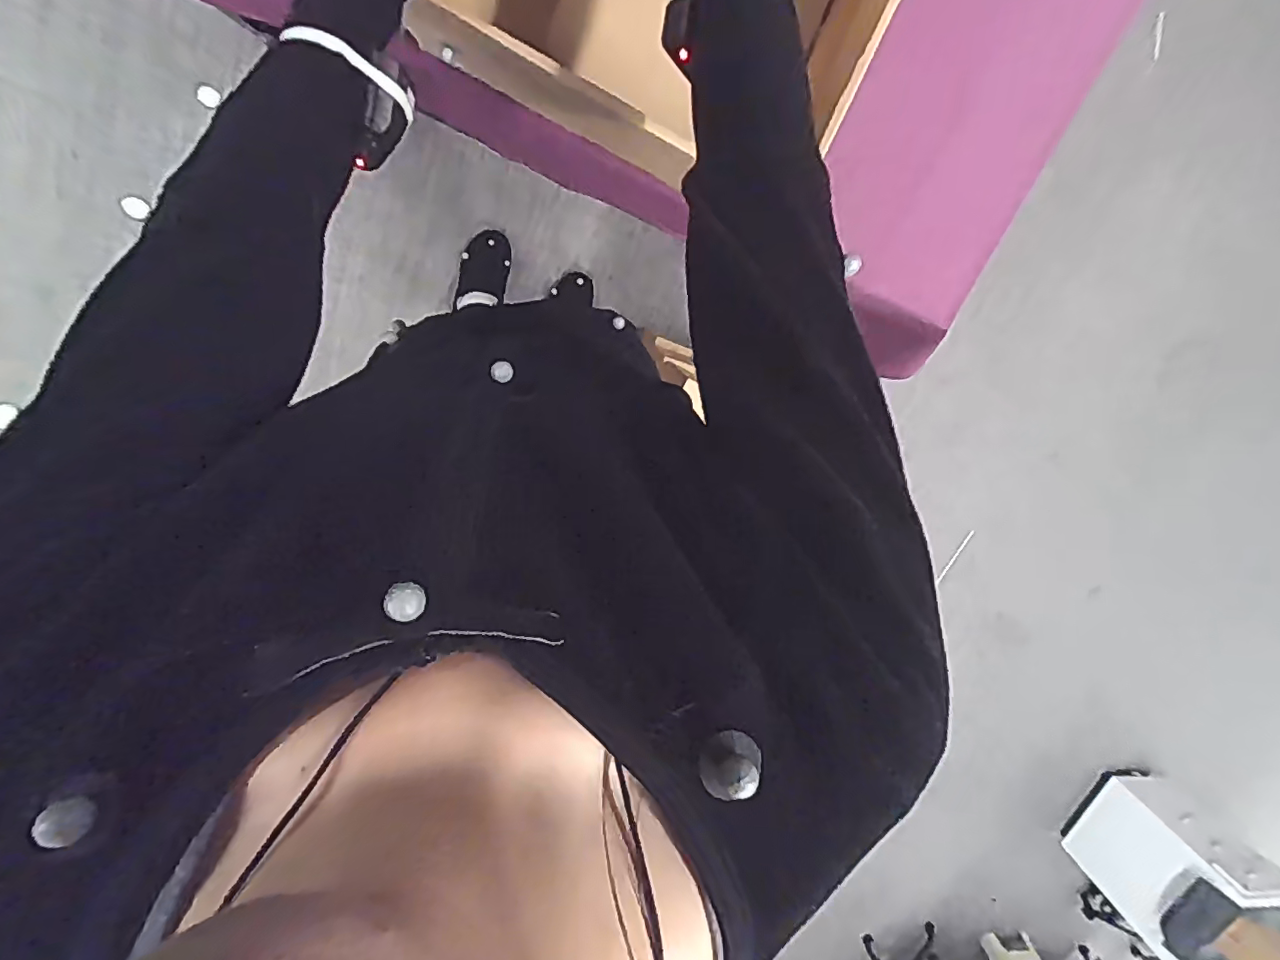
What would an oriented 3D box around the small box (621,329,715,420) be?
[{"bbox_3d":[0.066,-0.281,1.412,0.179,0.176,0.168,18,109,-17],"label":"small box"}]
